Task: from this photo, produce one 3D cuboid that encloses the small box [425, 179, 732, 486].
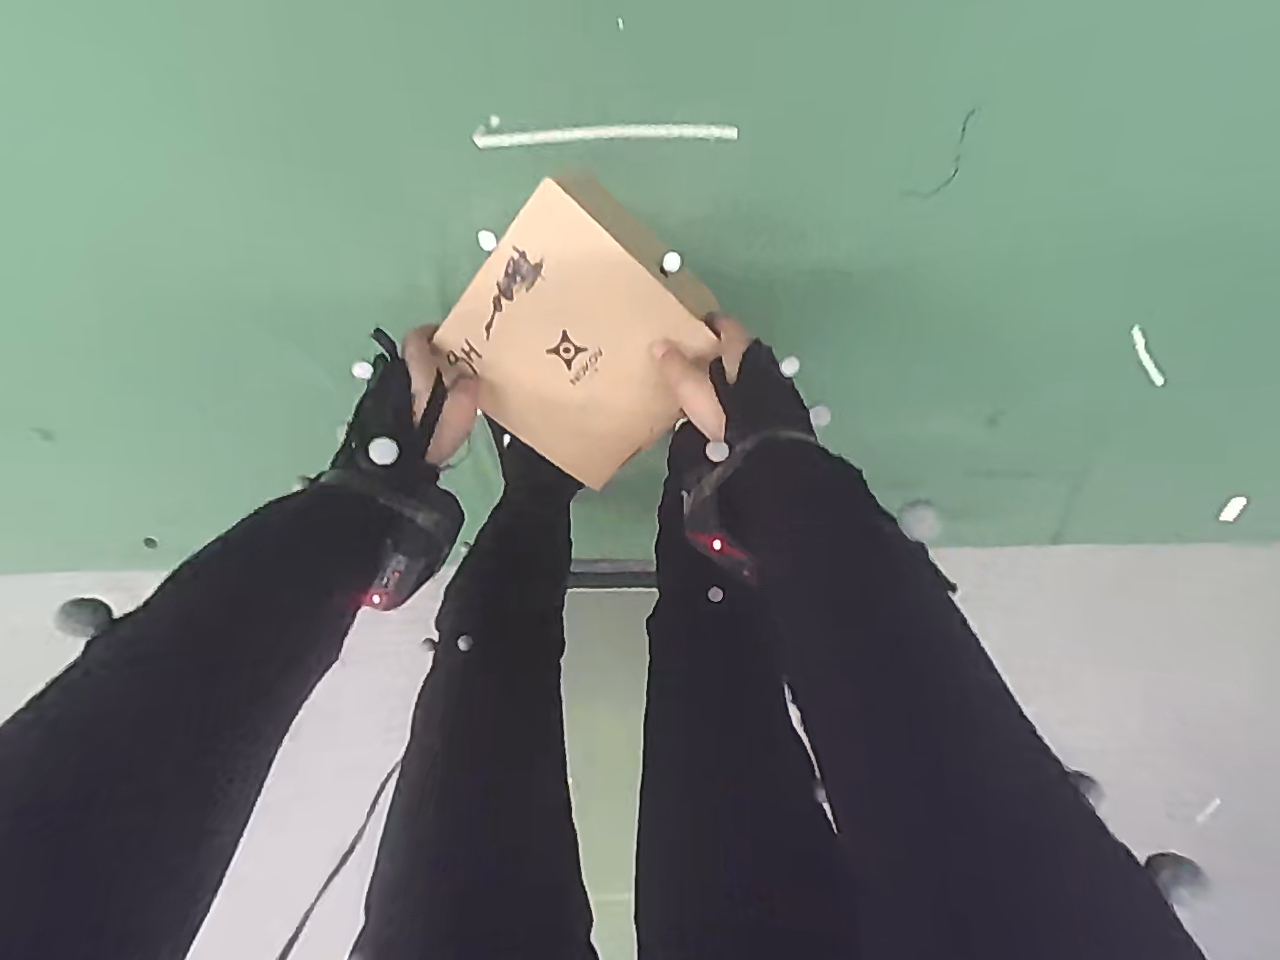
[{"bbox_3d":[-0.045,-0.135,0.472,0.179,0.176,0.168,37,116,-21],"label":"small box"}]
